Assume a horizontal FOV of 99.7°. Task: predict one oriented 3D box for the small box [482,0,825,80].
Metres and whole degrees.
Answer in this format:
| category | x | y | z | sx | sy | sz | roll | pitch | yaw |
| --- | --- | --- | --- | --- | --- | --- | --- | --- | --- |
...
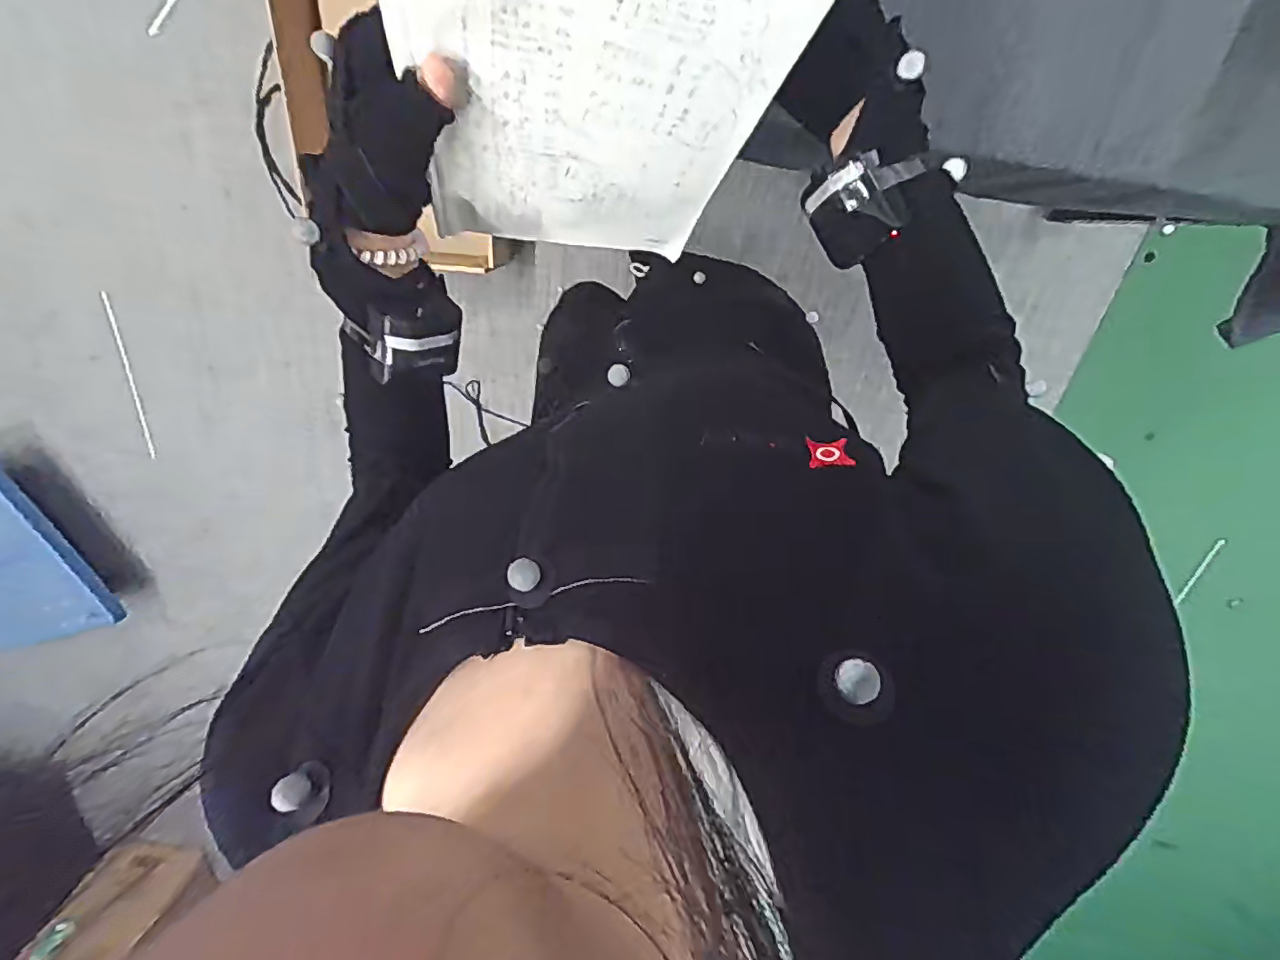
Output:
| category | x | y | z | sx | sy | sz | roll | pitch | yaw |
| --- | --- | --- | --- | --- | --- | --- | --- | --- | --- |
| small box | -0.004 | -0.340 | 0.300 | 0.179 | 0.176 | 0.168 | -7 | 121 | 1 |
